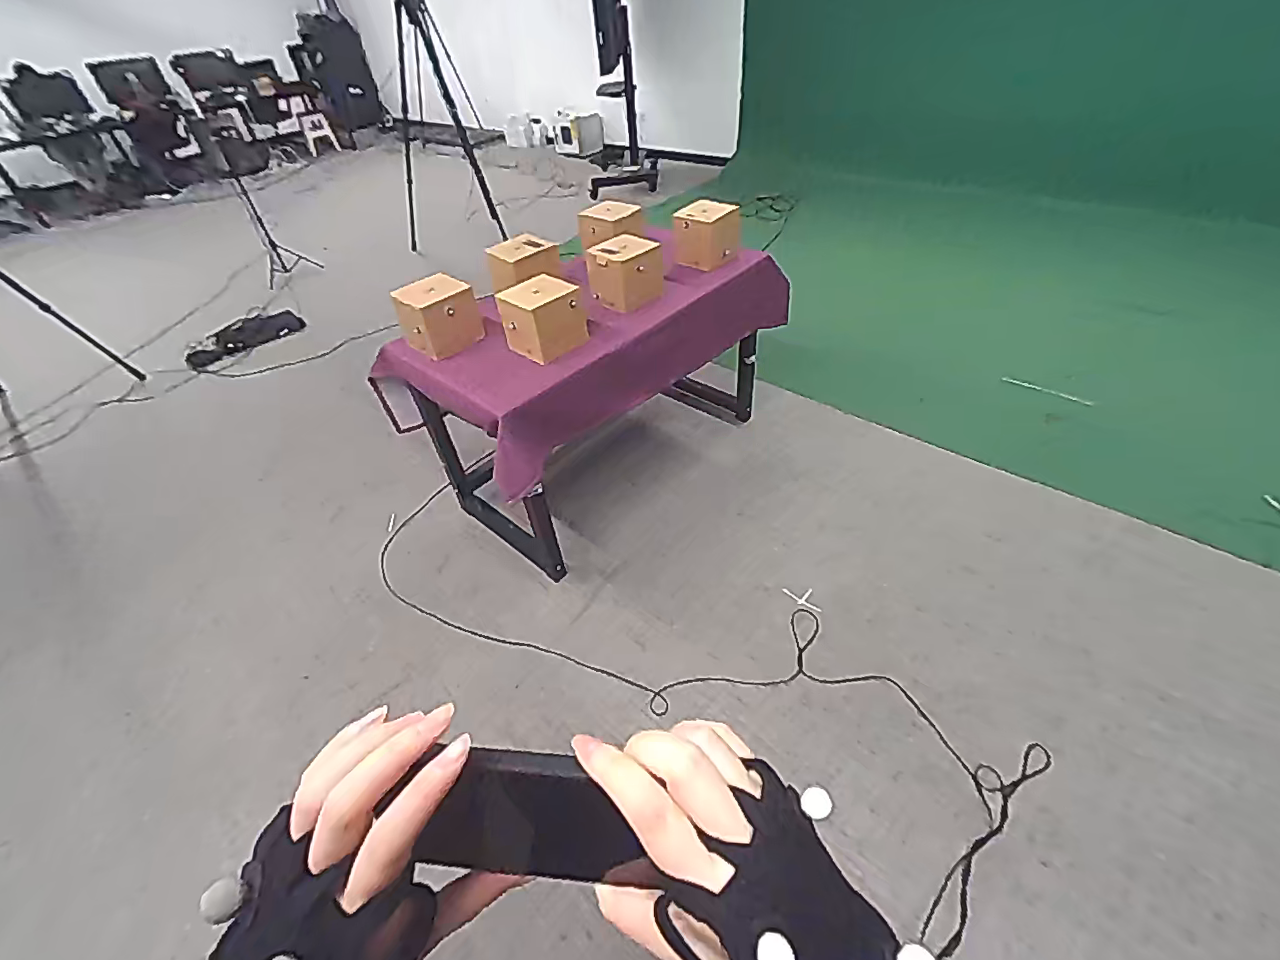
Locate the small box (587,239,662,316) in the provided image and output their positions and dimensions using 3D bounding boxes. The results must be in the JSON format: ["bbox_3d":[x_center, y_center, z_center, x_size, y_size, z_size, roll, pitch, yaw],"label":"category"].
[{"bbox_3d":[-0.043,-0.643,1.717,0.179,0.176,0.168,-35,50,-29],"label":"small box"}]

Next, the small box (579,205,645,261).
[{"bbox_3d":[-0.098,-0.887,1.983,0.179,0.176,0.168,28,53,30],"label":"small box"}]

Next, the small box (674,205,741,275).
[{"bbox_3d":[0.235,-0.845,1.901,0.168,0.176,0.179,28,53,32],"label":"small box"}]

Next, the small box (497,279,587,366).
[{"bbox_3d":[-0.270,-0.445,1.532,0.168,0.176,0.179,31,53,33],"label":"small box"}]
